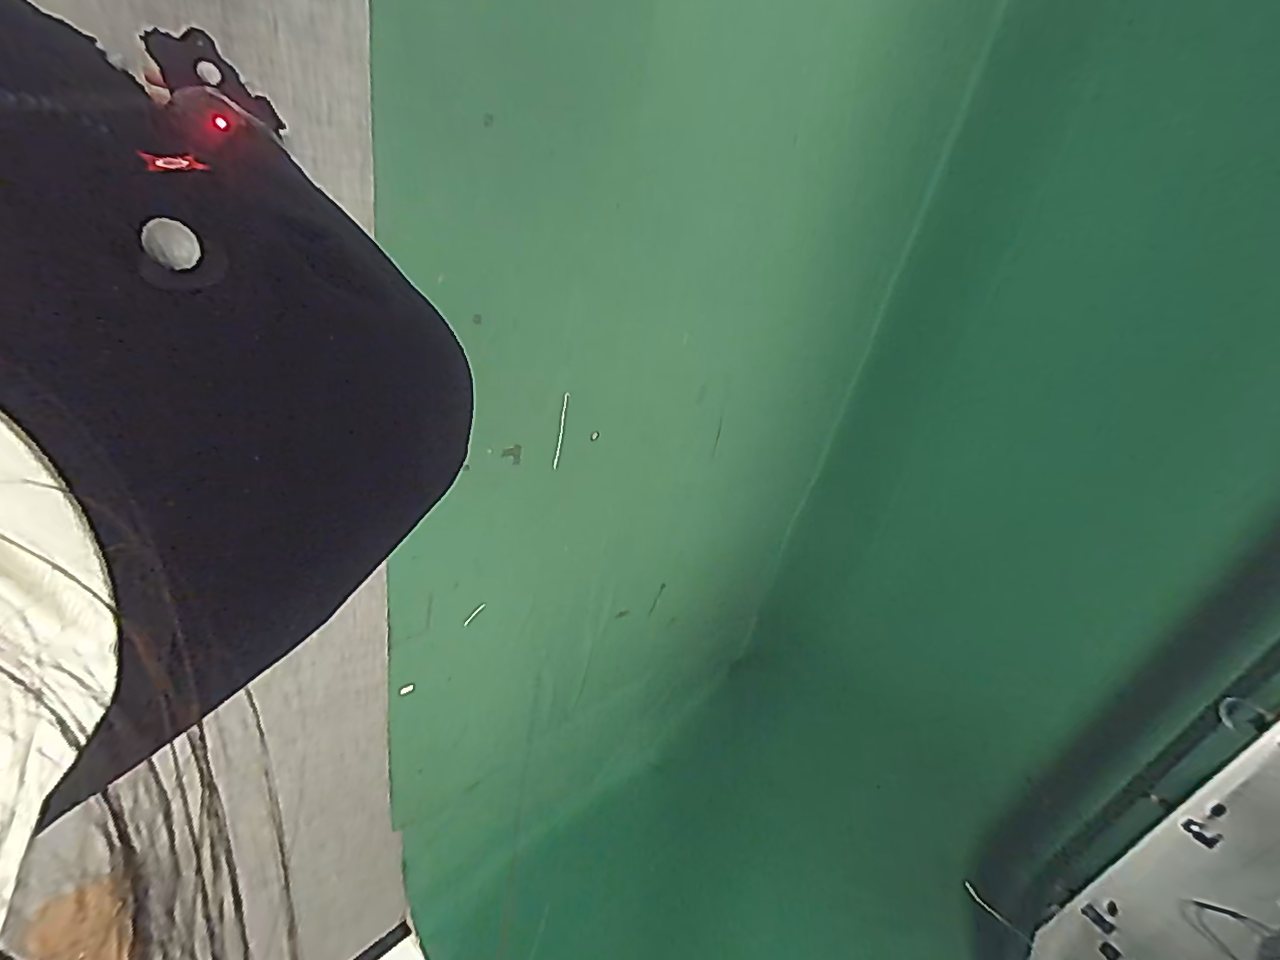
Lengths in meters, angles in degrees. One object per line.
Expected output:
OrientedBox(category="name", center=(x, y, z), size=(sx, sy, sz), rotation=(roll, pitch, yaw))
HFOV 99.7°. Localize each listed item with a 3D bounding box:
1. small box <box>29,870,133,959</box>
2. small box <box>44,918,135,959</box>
OrientedBox(category="small box", center=(-1.589, 1.274, 1.536), size=(0.179, 0.176, 0.168), rotation=(-19, 131, -44))
OrientedBox(category="small box", center=(-1.475, 1.340, 1.441), size=(0.179, 0.176, 0.168), rotation=(-15, 129, -44))
